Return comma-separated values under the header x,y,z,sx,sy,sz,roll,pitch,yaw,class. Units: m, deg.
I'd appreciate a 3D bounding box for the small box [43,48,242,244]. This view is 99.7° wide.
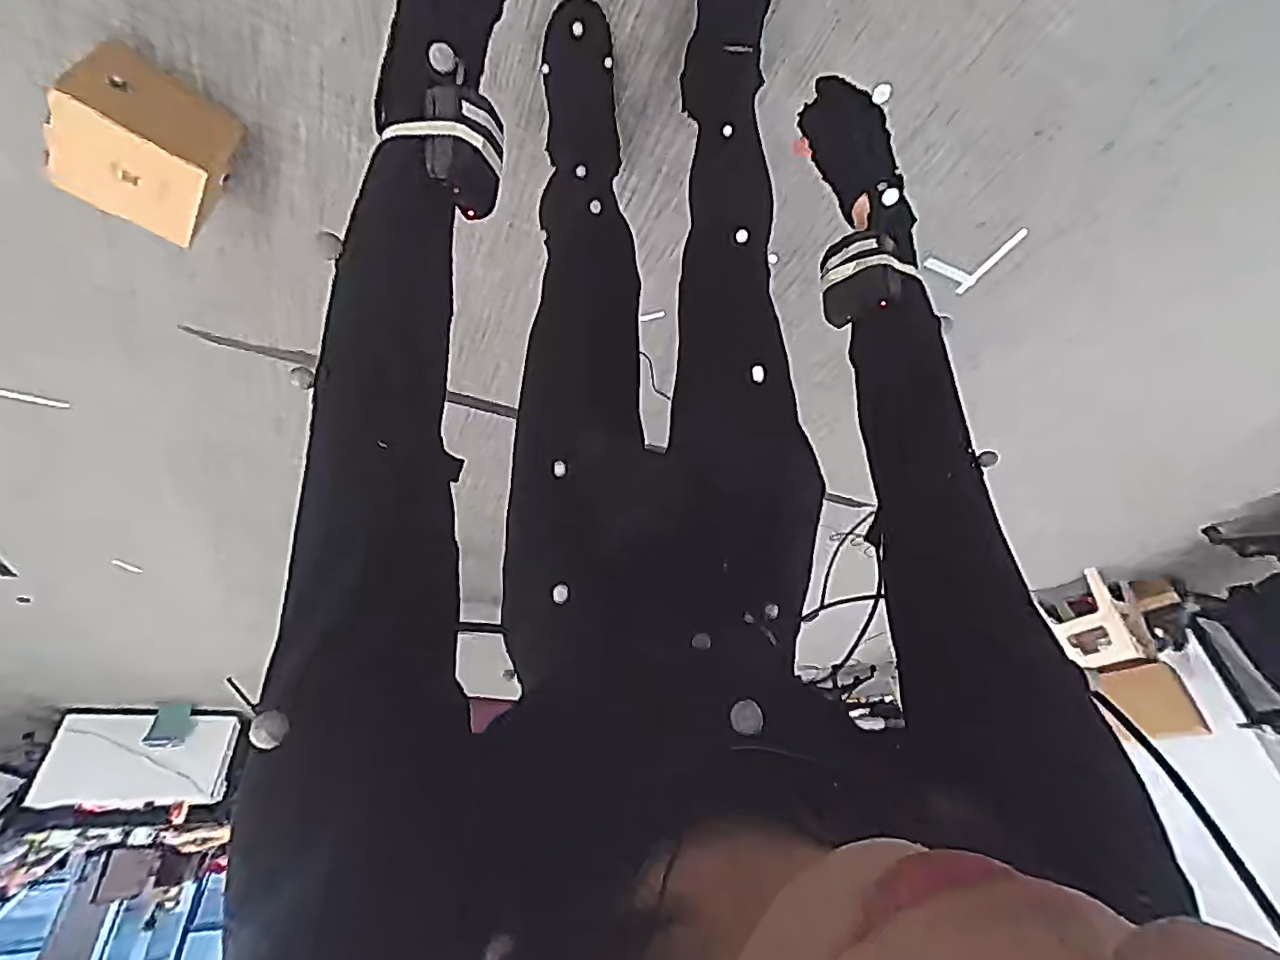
x,y,z,sx,sy,sz,roll,pitch,yaw,class
-0.763,-0.519,0.840,0.179,0.176,0.168,24,138,-36,small box
